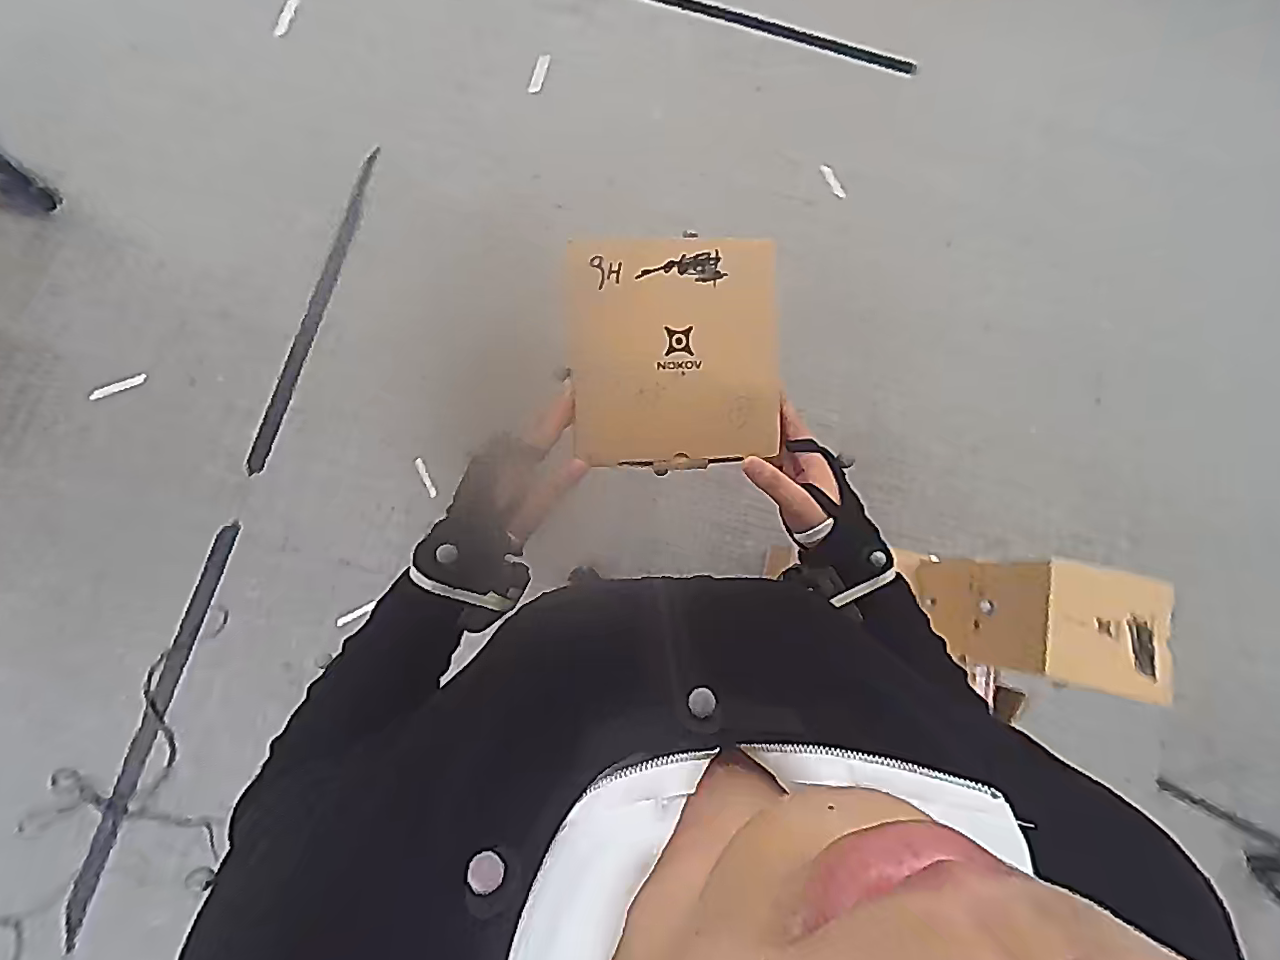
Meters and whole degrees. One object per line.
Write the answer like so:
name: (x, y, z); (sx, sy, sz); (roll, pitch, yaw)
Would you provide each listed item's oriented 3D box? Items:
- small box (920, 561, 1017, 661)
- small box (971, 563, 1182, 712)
small box: (0.639, 0.245, 0.970); (0.179, 0.176, 0.168); (10, 77, 0)
small box: (0.639, 0.226, 0.806); (0.179, 0.176, 0.168); (13, 78, 1)
